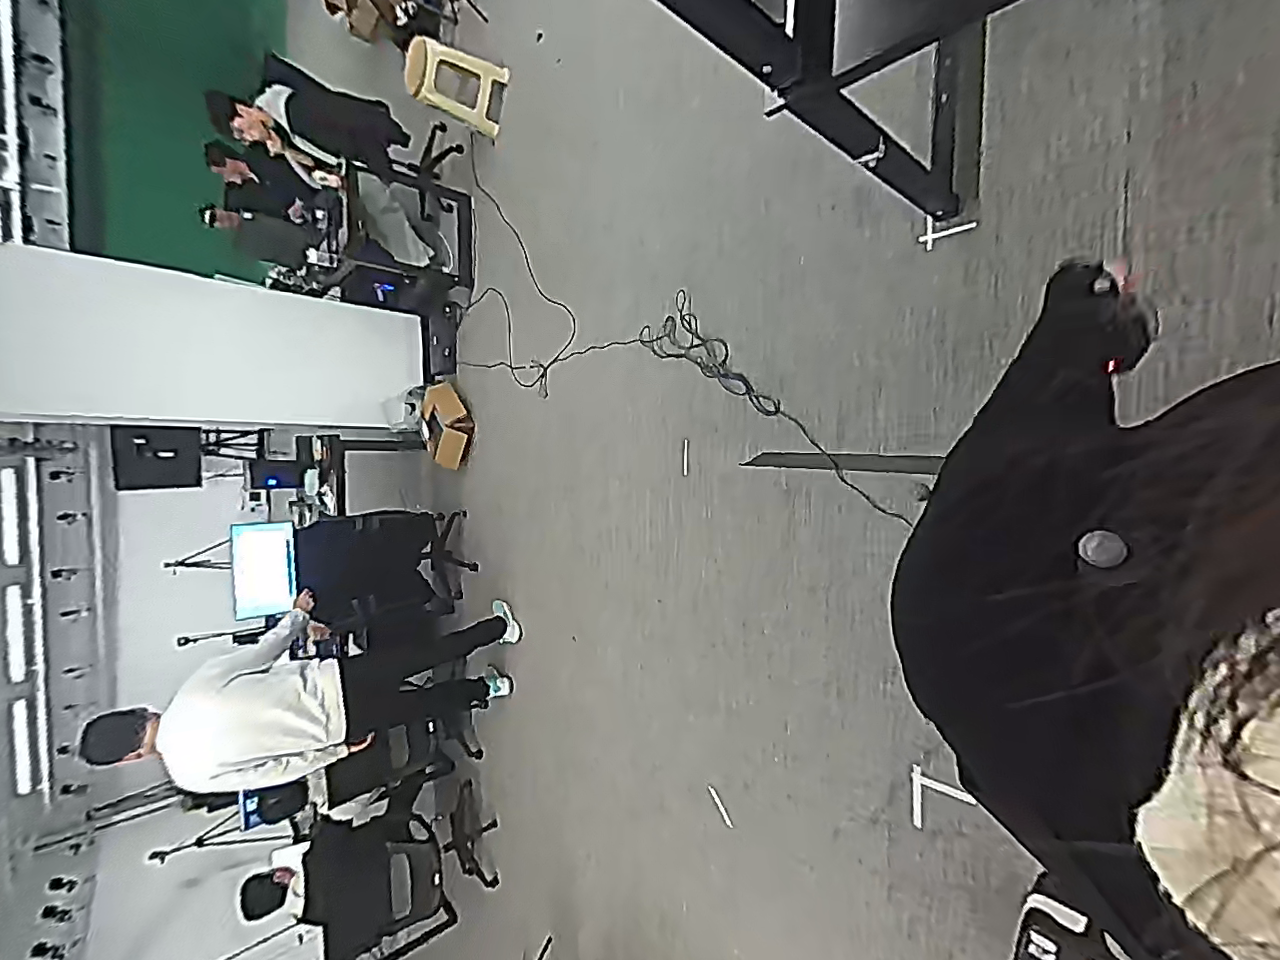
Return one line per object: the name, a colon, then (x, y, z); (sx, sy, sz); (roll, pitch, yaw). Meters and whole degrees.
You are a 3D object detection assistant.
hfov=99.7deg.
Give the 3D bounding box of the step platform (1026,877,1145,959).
step platform: (1.093, 1.086, 0.953); (0.684, 0.204, 0.286); (14, 101, 47)
